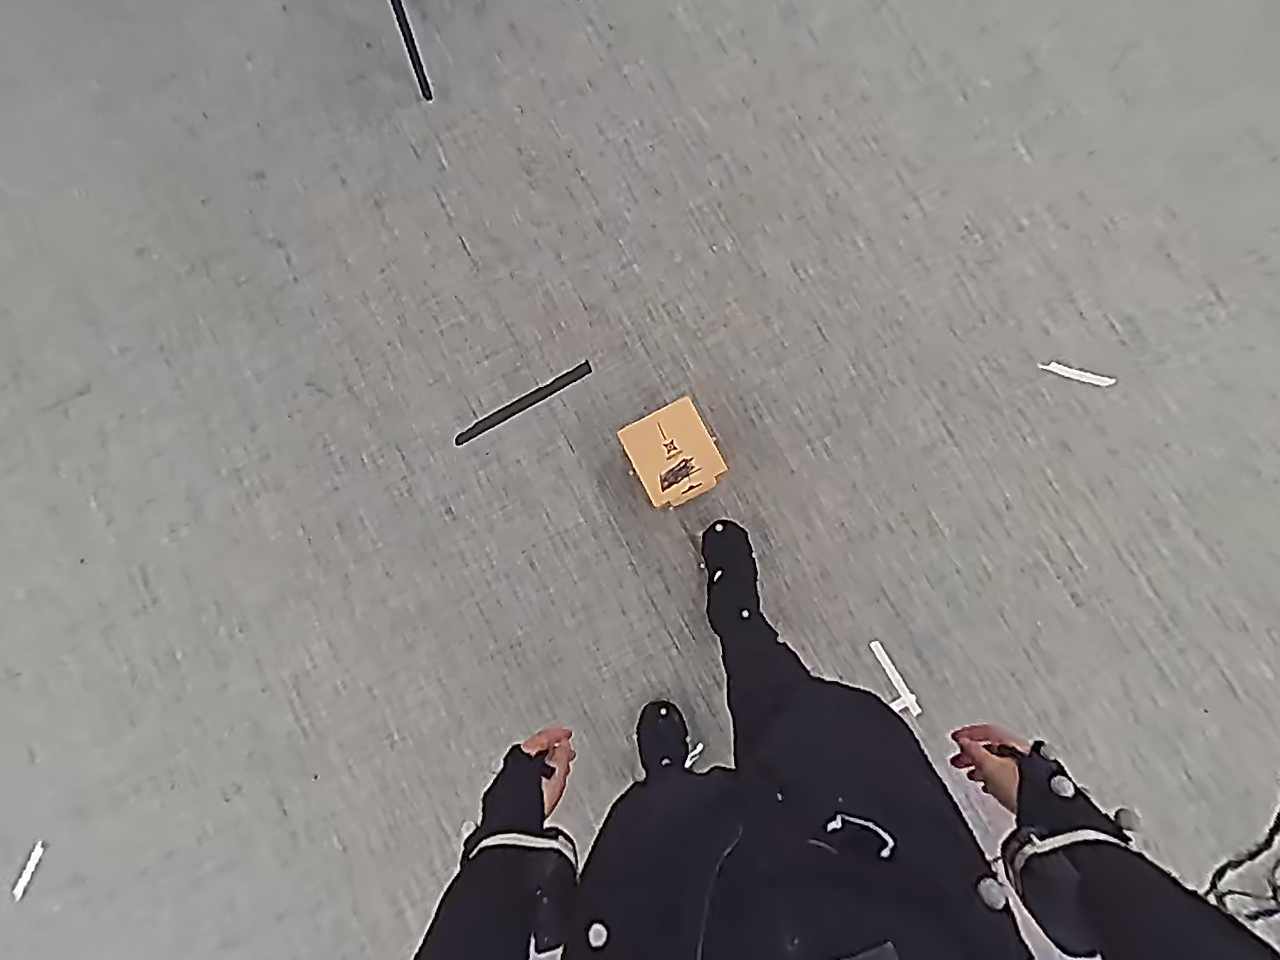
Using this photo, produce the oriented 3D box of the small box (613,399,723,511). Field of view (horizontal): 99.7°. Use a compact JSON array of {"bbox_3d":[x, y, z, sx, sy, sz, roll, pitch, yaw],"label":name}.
[{"bbox_3d":[0.060,-0.044,1.149,0.168,0.176,0.179,-27,83,-1],"label":"small box"}]
